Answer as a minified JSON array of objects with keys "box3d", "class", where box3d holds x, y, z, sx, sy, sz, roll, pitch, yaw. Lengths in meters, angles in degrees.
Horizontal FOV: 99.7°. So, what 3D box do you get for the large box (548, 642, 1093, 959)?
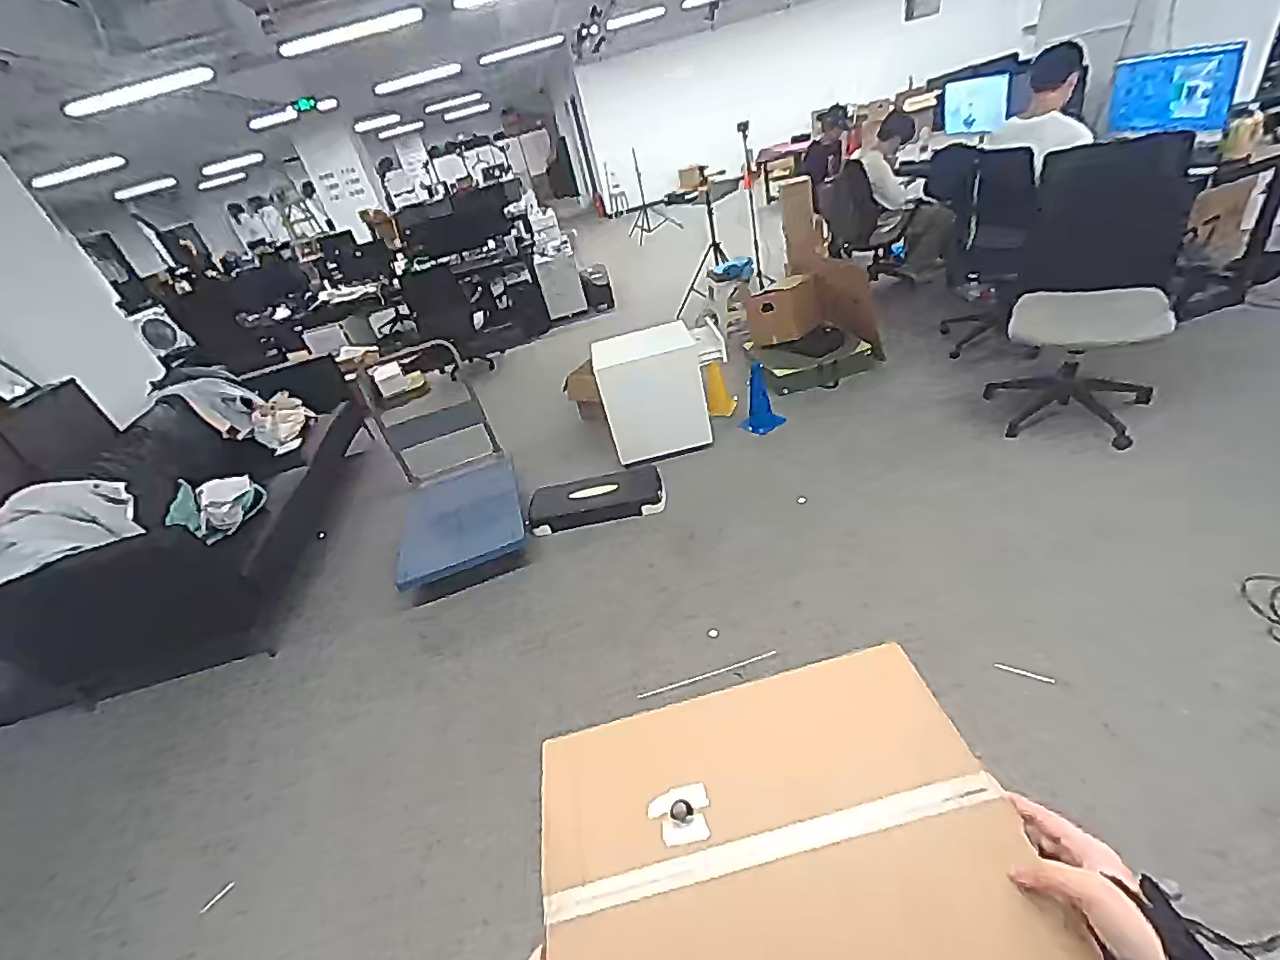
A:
[{"box3d":[0.151,0.438,0.571,0.408,0.320,0.320,-18,37,2],"class":"large box"}]
